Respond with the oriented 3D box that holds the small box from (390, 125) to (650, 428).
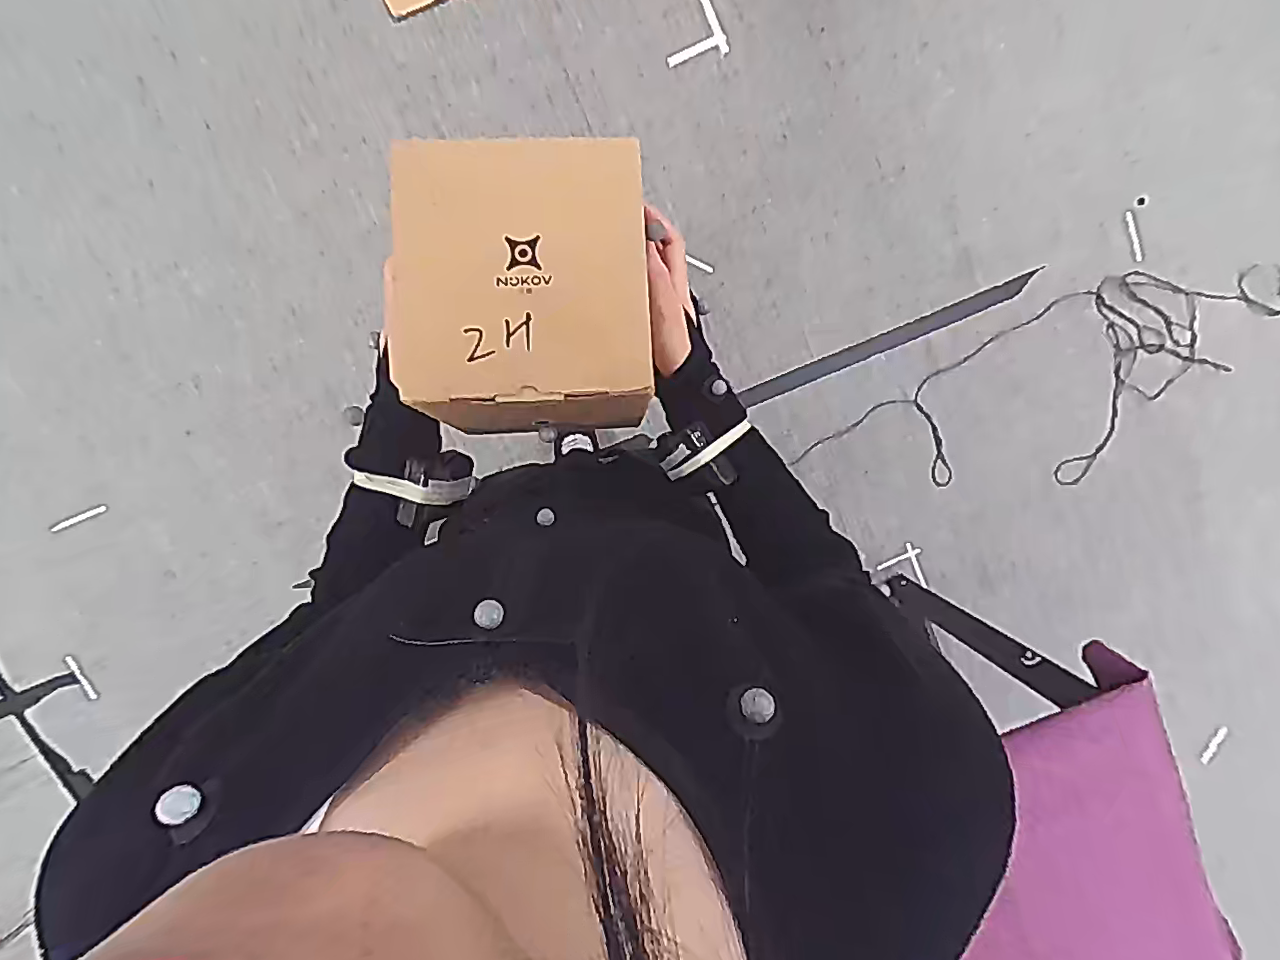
[{"bbox_3d":[-0.082,-0.142,0.430,0.168,0.176,0.179,-3,88,-3],"label":"small box"}]
